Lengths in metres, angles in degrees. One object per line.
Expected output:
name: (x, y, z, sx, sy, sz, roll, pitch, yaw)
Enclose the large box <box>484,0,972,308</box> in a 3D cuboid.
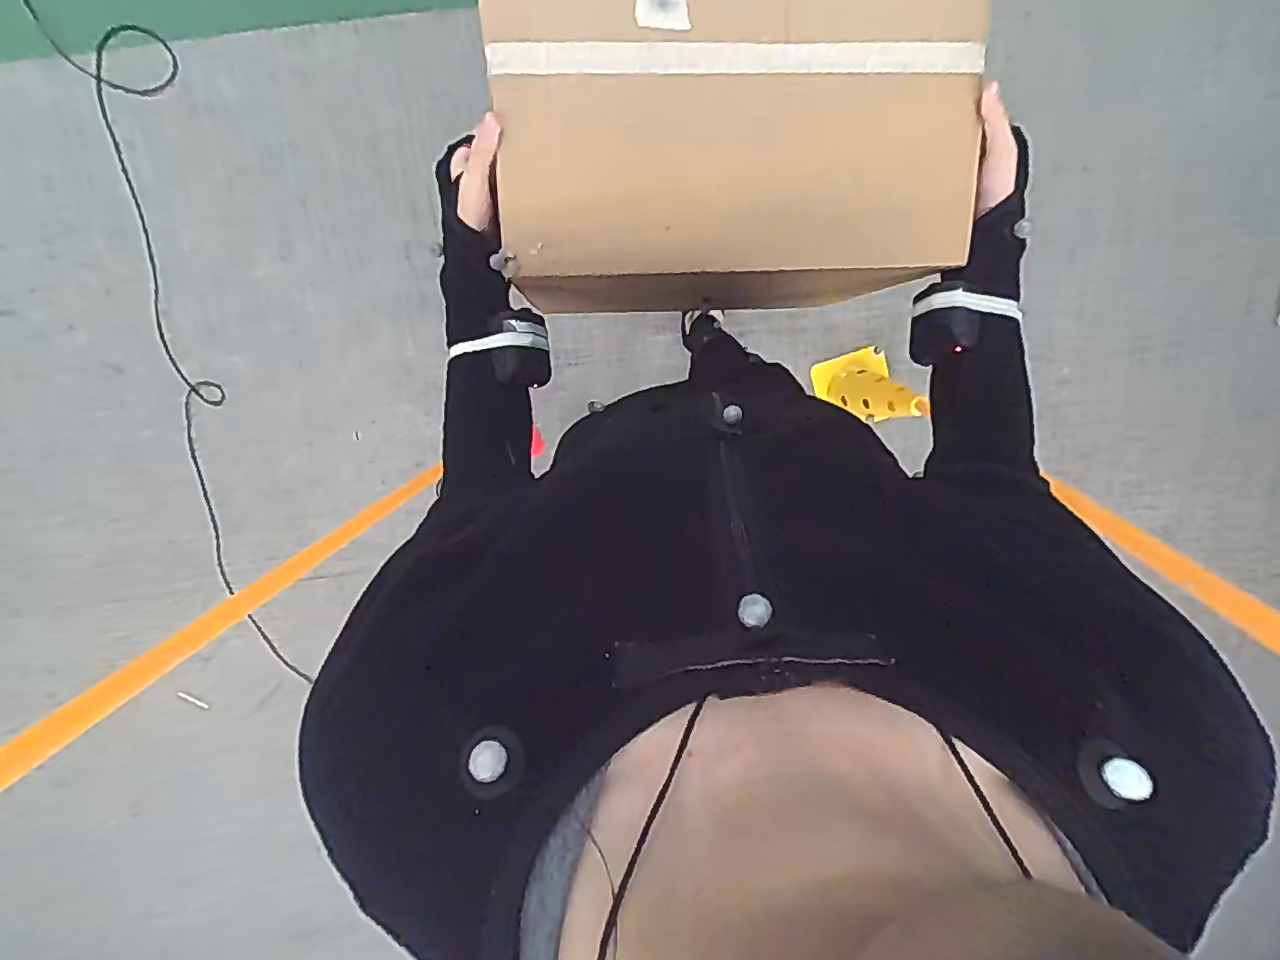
large box: (0.069, -0.367, 0.591, 0.408, 0.320, 0.320, -3, 101, -4)
